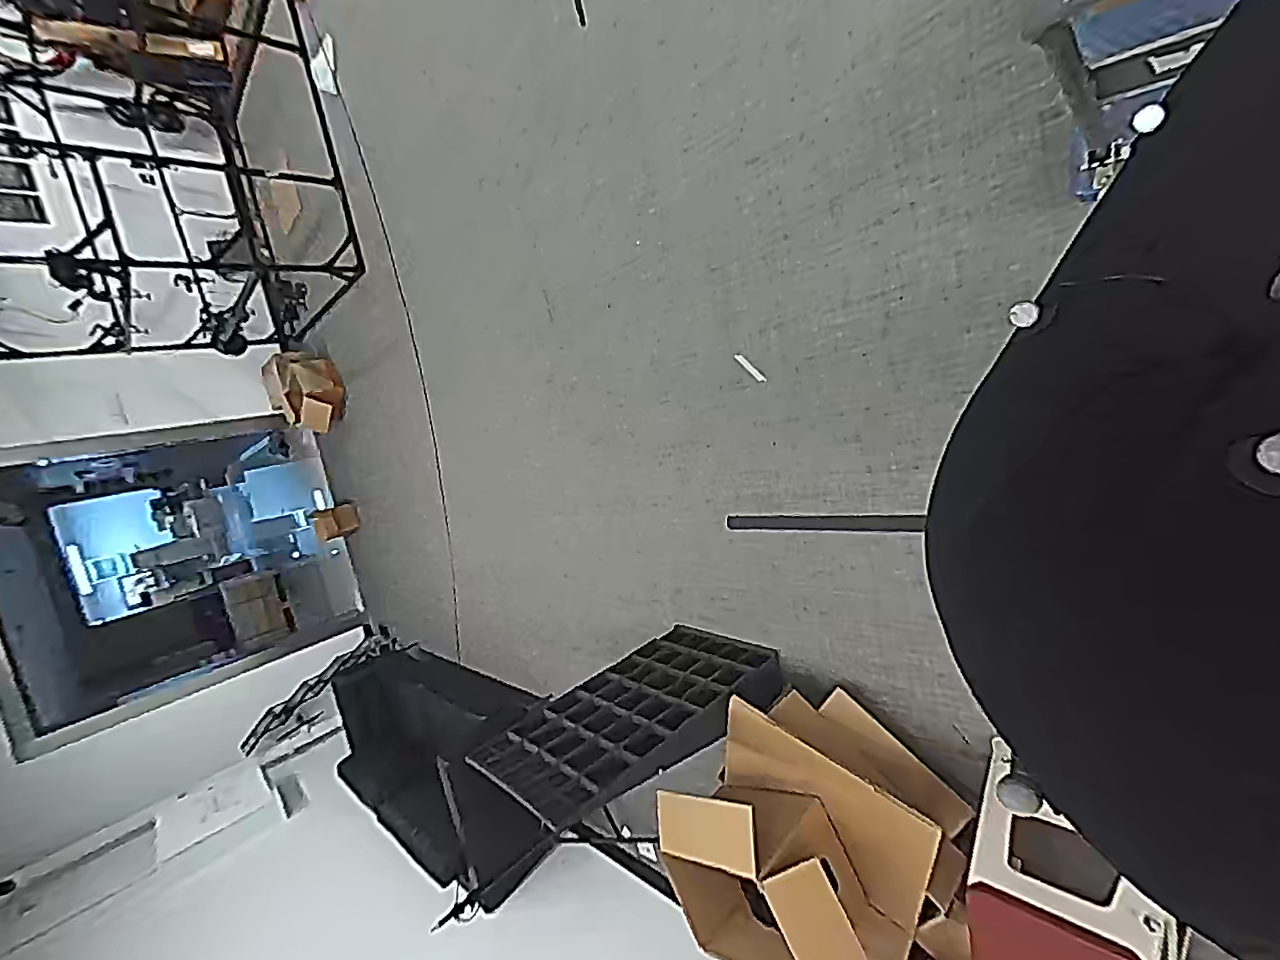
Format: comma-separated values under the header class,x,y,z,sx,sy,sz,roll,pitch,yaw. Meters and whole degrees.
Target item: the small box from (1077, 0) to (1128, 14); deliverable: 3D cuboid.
class,x,y,z,sx,sy,sz,roll,pitch,yaw
small box,0.742,-0.826,0.777,0.179,0.176,0.168,8,109,42
